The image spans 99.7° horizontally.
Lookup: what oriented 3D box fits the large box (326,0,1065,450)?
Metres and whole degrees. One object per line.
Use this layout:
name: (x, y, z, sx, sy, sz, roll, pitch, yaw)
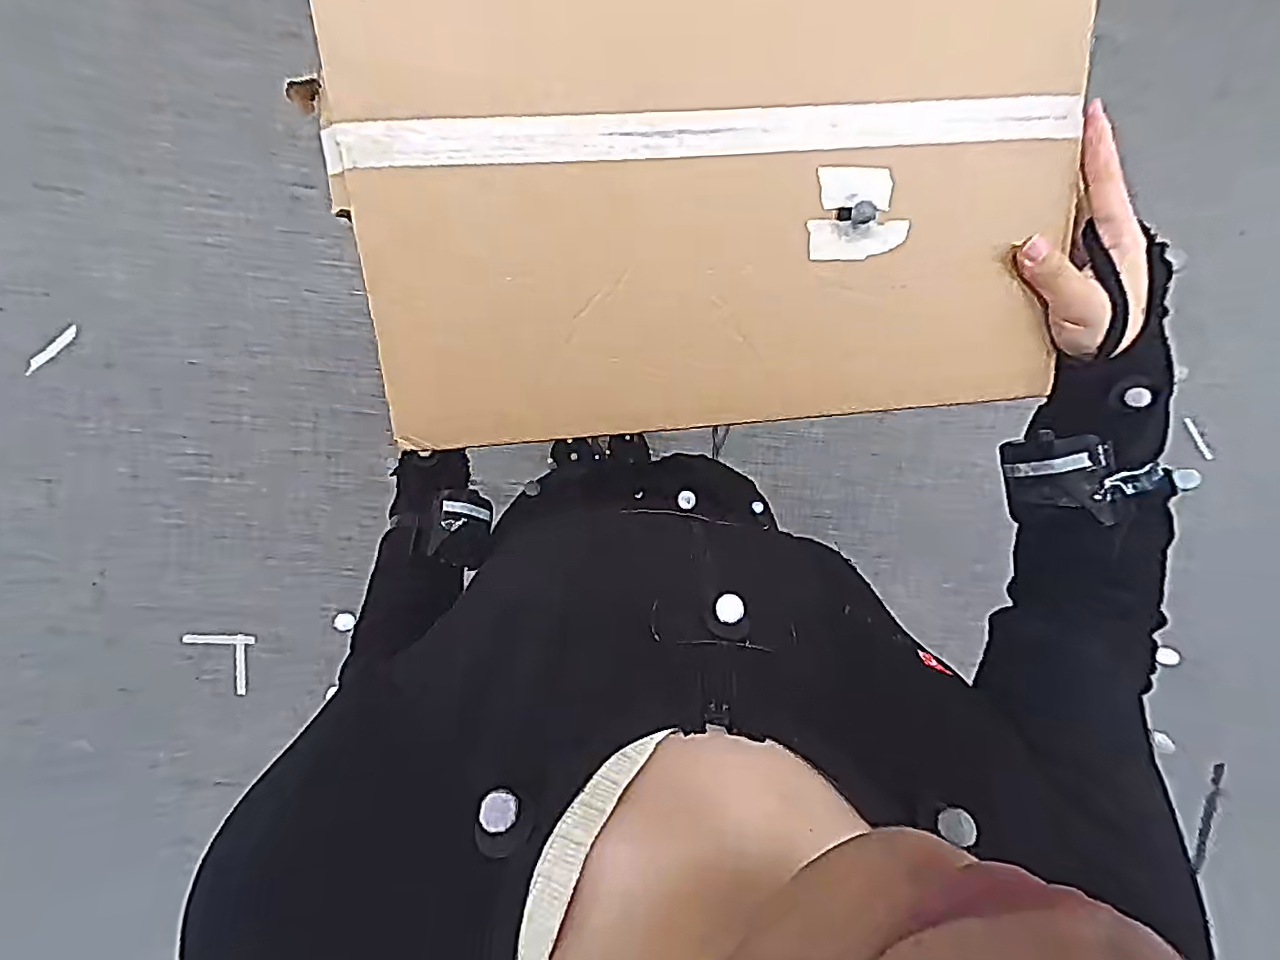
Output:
large box: (0.027, -0.222, 0.445, 0.408, 0.320, 0.320, -6, 105, -7)
